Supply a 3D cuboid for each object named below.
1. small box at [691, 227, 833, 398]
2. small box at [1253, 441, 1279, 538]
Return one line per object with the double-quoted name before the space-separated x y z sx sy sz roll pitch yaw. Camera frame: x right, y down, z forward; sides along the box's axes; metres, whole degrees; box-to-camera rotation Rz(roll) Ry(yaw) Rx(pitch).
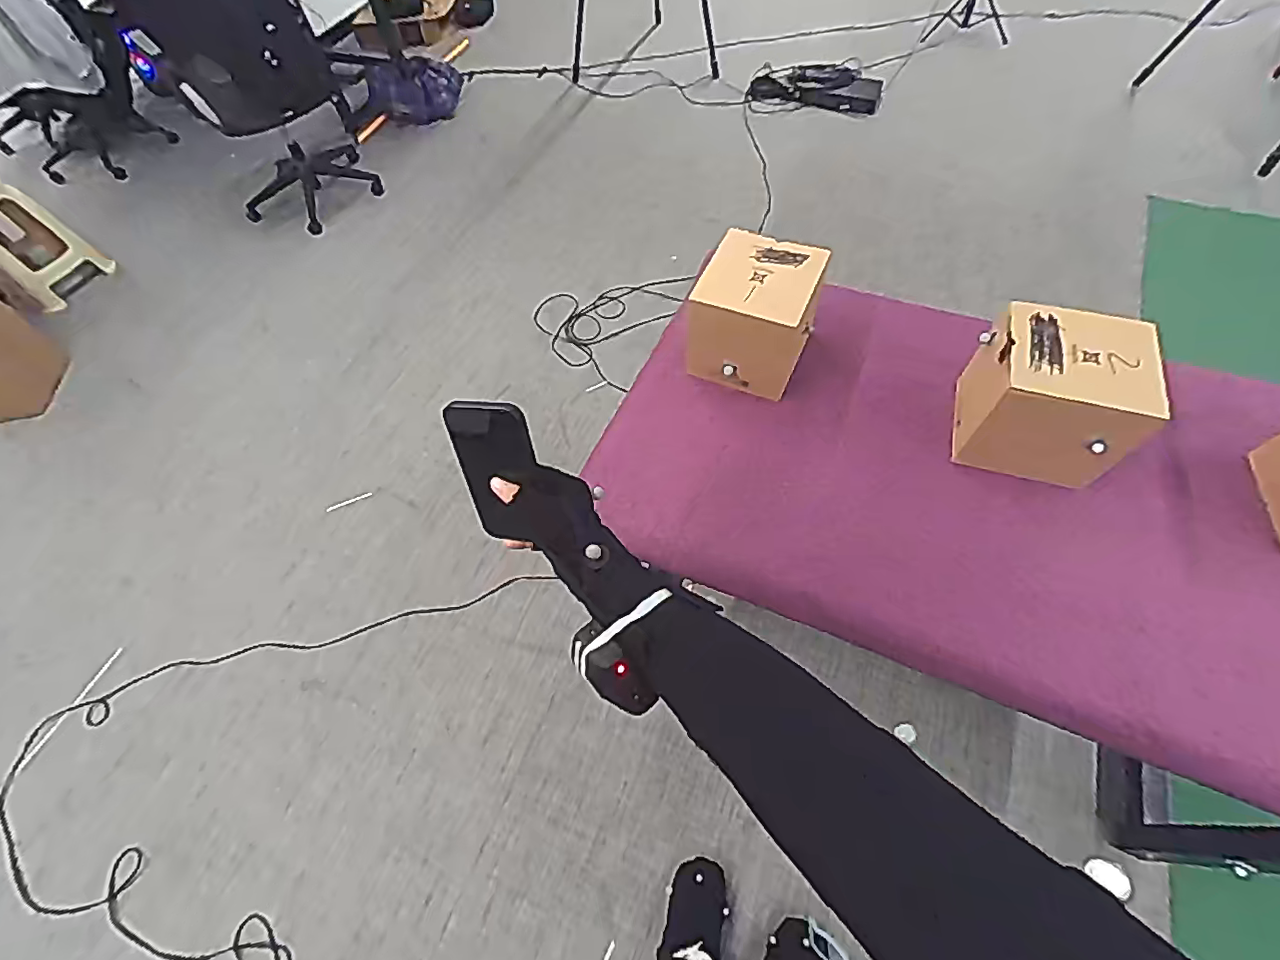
"small box" 0.187 -0.265 0.868 0.168 0.176 0.179 21 64 16
"small box" 0.919 0.014 0.646 0.168 0.176 0.179 11 60 11
